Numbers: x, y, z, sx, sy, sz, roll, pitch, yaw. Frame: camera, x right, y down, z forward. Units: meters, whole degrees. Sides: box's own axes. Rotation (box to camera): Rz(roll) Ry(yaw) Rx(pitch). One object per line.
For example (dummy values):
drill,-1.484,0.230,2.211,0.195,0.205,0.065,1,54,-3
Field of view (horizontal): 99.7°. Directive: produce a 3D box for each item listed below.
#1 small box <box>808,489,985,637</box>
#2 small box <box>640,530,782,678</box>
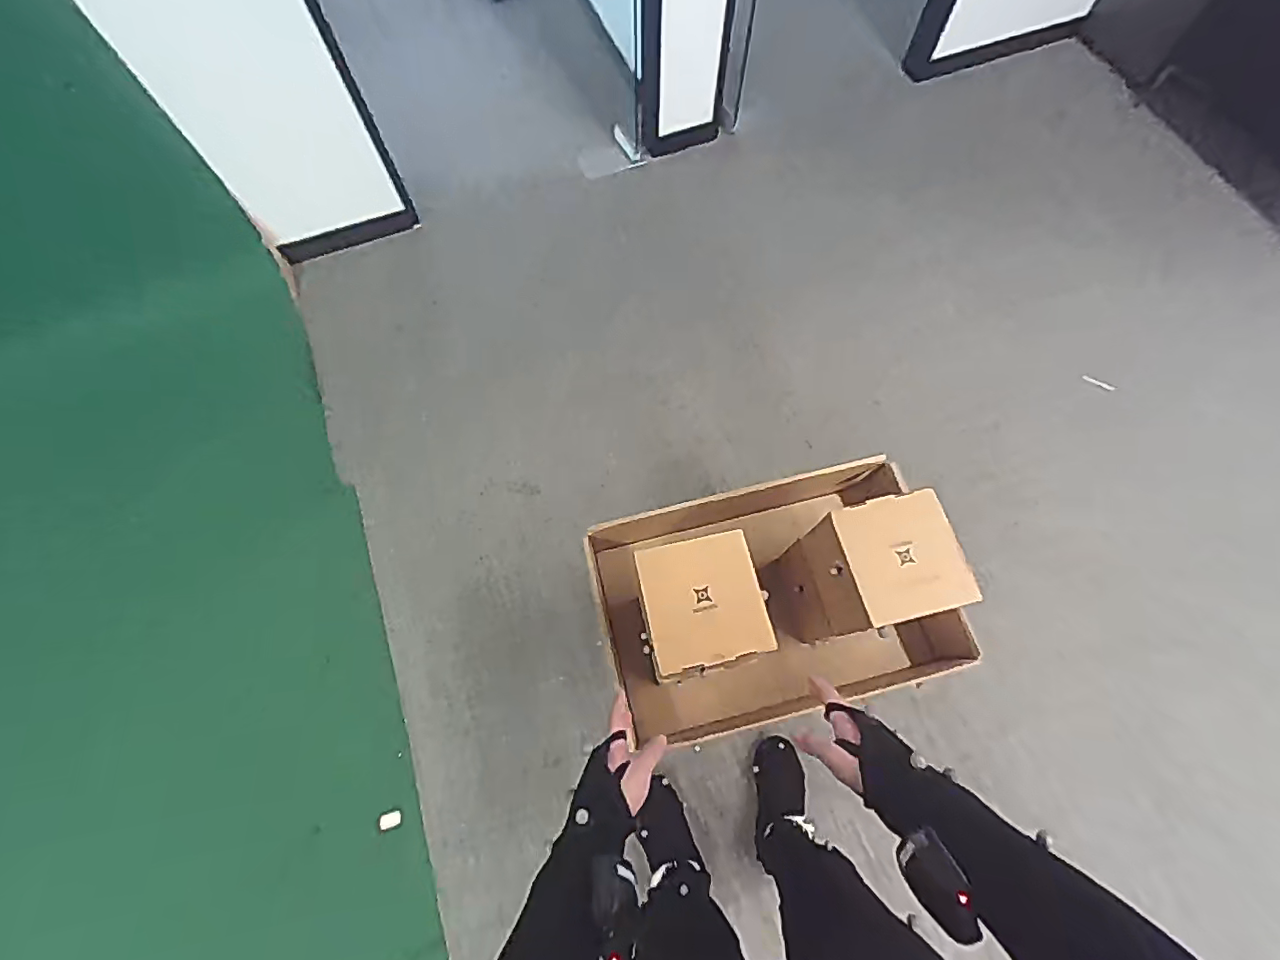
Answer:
small box,0.383,0.136,0.847,0.168,0.176,0.179,-12,69,-3
small box,0.095,0.196,0.828,0.168,0.176,0.179,-12,69,-4
